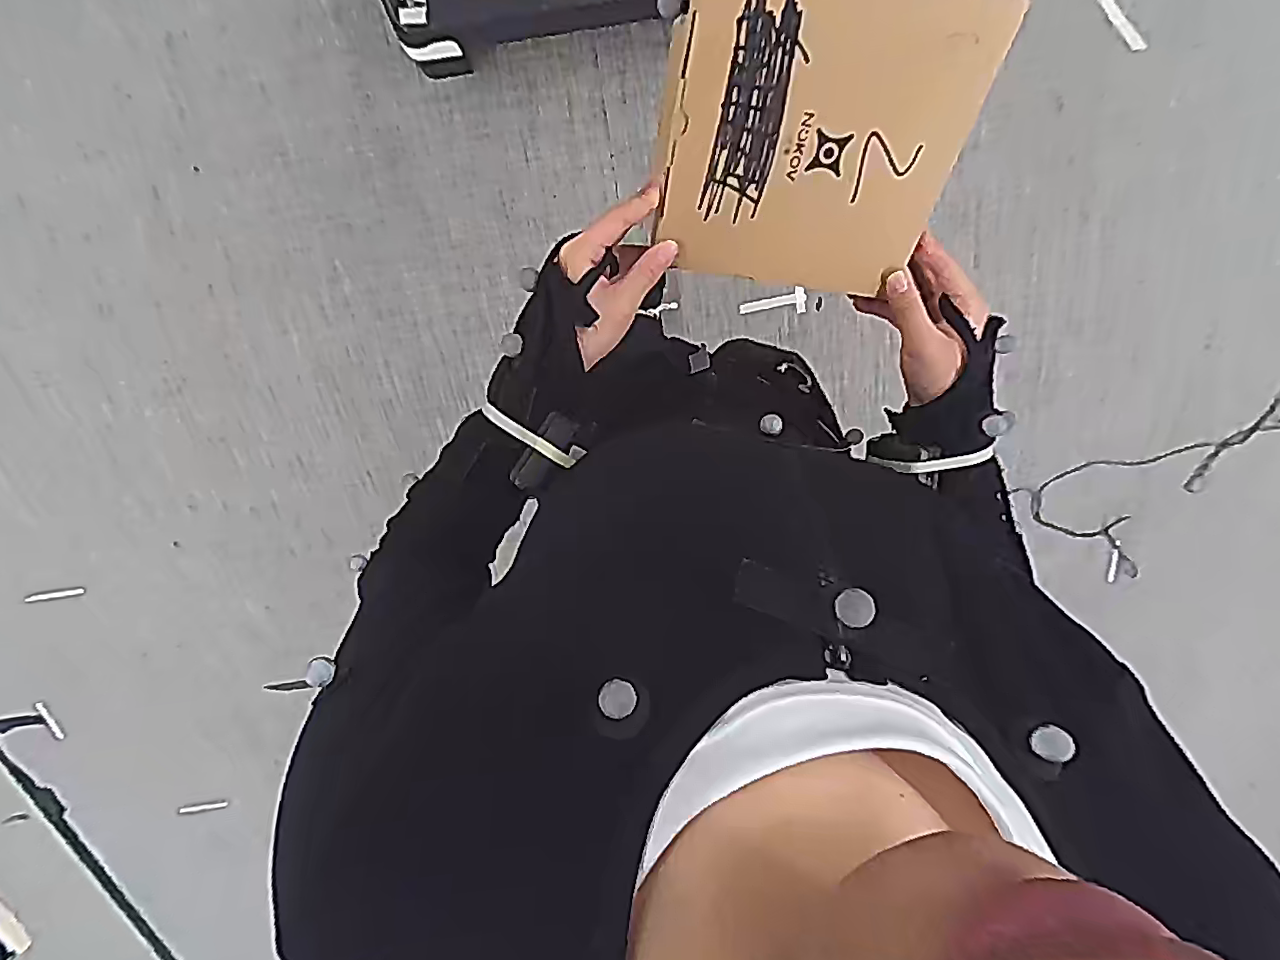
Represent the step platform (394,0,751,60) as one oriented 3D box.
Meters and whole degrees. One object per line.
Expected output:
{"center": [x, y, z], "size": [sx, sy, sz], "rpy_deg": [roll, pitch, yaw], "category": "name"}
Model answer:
{"center": [-0.112, -0.974, 0.931], "size": [0.684, 0.204, 0.286], "rpy_deg": [-9, 110, 1], "category": "step platform"}
